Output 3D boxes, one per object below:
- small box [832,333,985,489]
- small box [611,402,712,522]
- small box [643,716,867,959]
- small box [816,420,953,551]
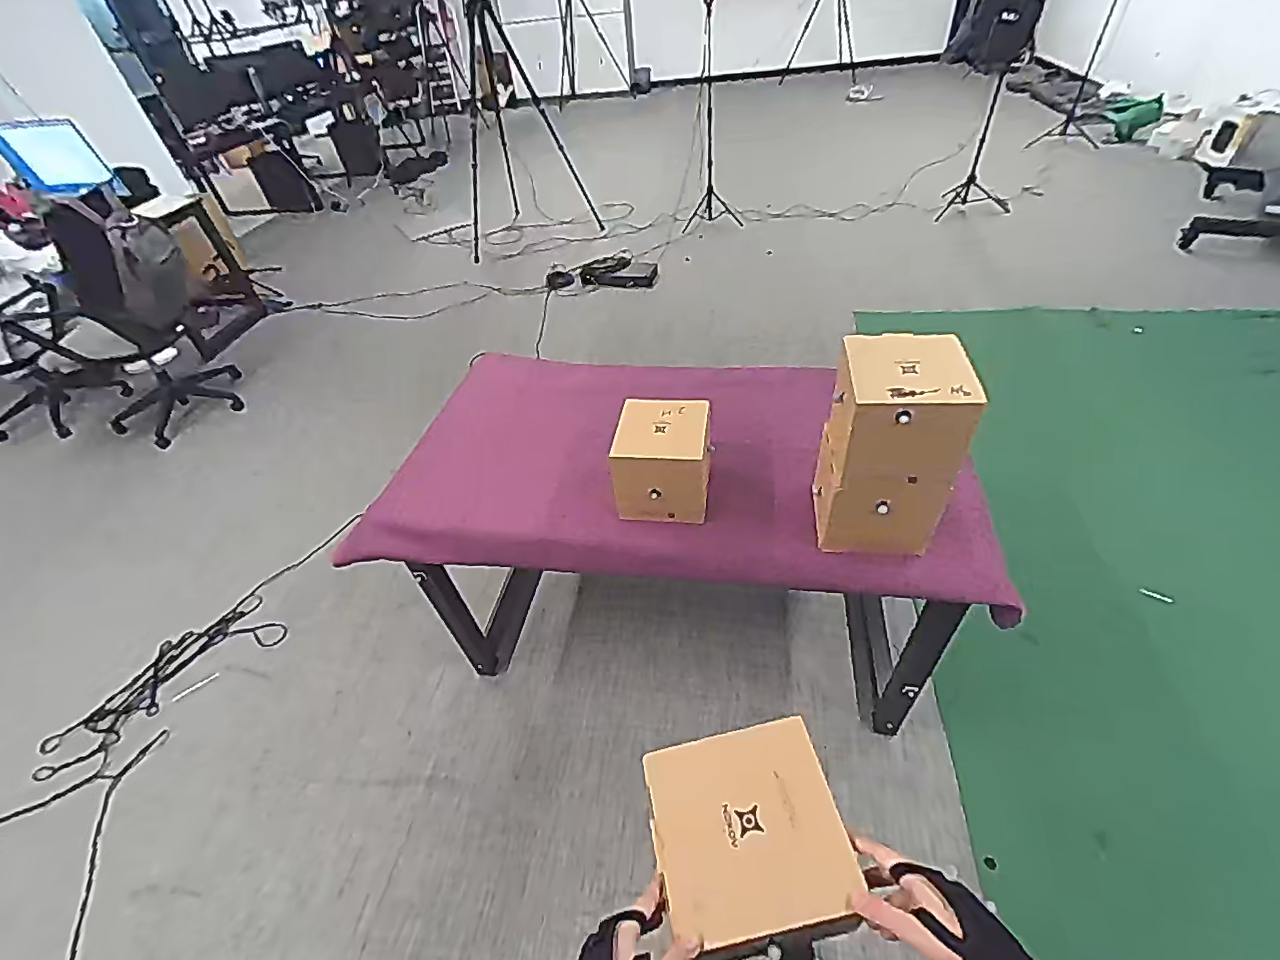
[{"bbox_3d":[0.395,-0.107,0.833,0.168,0.176,0.179,0,45,13],"label":"small box"},{"bbox_3d":[0.050,-0.035,1.052,0.168,0.176,0.179,2,44,11],"label":"small box"},{"bbox_3d":[0.115,0.381,0.569,0.179,0.176,0.168,-15,43,1],"label":"small box"},{"bbox_3d":[0.413,0.011,0.946,0.179,0.176,0.168,0,46,11],"label":"small box"}]
